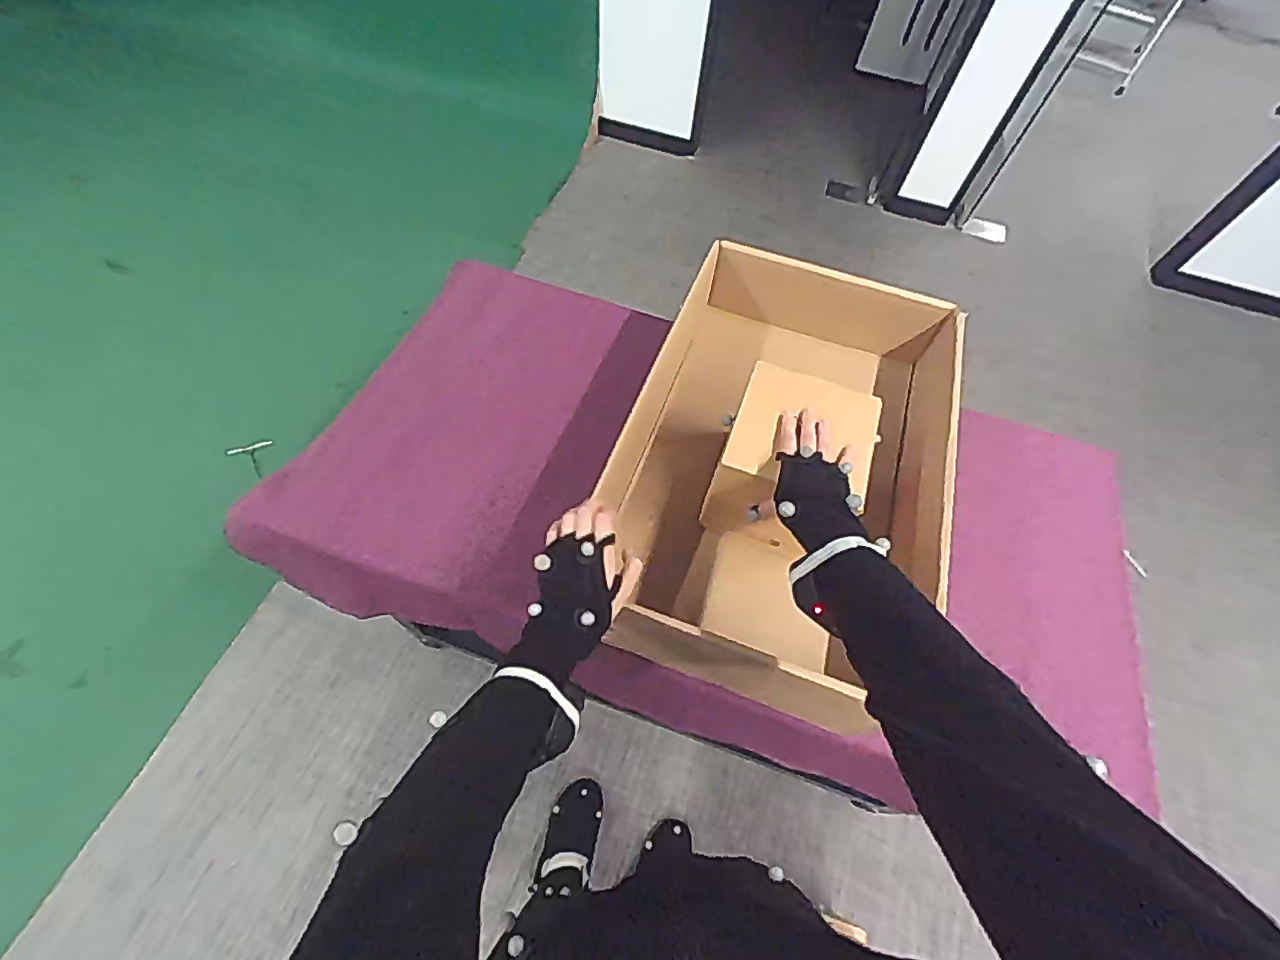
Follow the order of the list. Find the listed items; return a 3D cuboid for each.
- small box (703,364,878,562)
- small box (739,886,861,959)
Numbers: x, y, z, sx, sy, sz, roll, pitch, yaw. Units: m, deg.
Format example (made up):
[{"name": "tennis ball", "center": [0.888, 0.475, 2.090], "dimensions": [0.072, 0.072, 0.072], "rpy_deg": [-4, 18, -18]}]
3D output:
[{"name": "small box", "center": [0.190, -0.015, 0.715], "dimensions": [0.168, 0.176, 0.179], "rpy_deg": [19, 59, 8]}, {"name": "small box", "center": [0.312, 0.938, 1.072], "dimensions": [0.179, 0.176, 0.168], "rpy_deg": [17, 60, 6]}]
